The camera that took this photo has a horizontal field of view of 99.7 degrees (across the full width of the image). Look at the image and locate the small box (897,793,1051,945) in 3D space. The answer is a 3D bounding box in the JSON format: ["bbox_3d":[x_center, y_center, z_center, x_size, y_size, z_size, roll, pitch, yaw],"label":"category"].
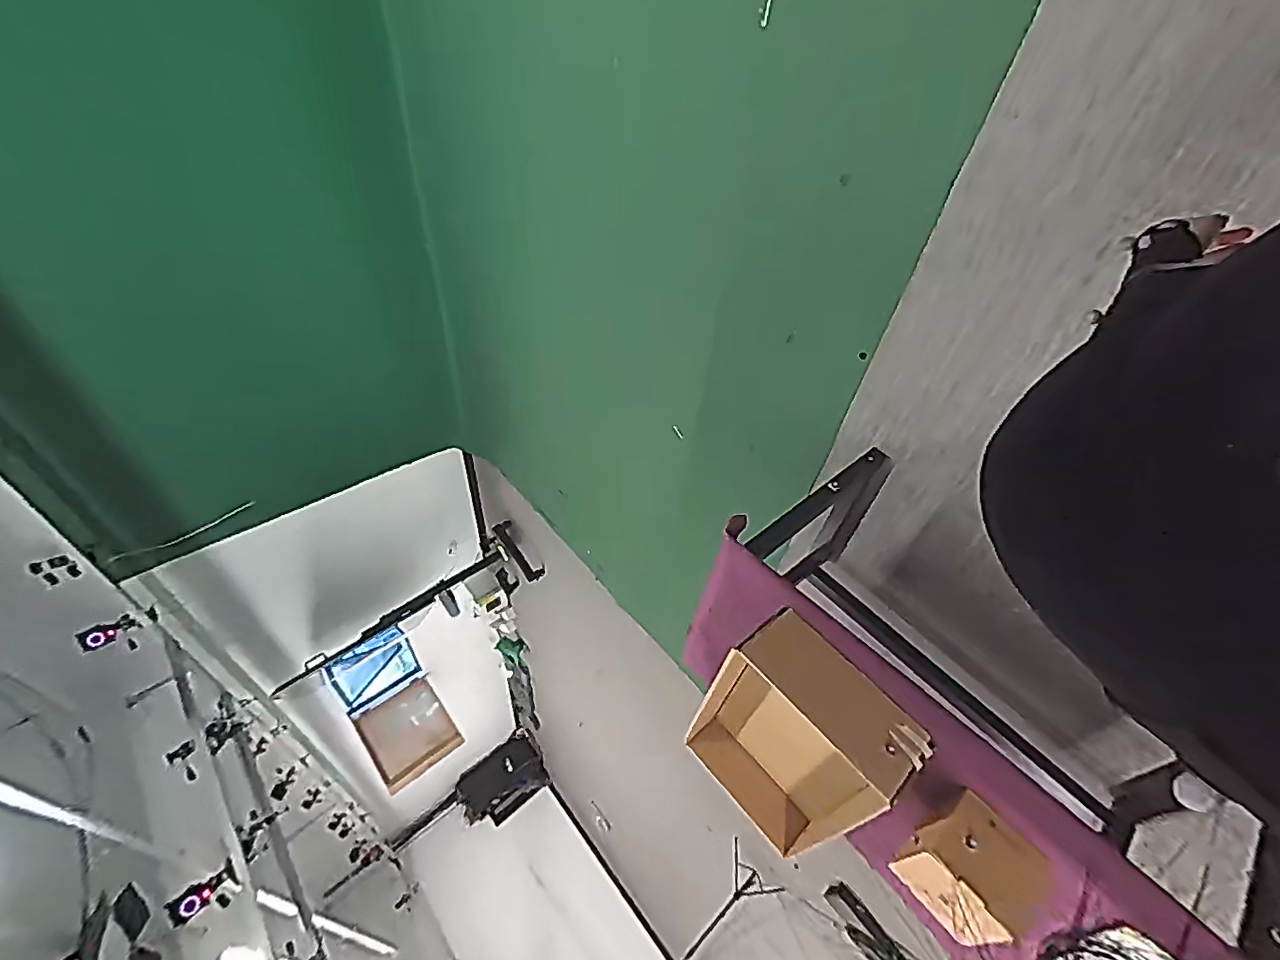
[{"bbox_3d":[0.643,0.741,1.040,0.168,0.176,0.179,44,147,28],"label":"small box"}]
